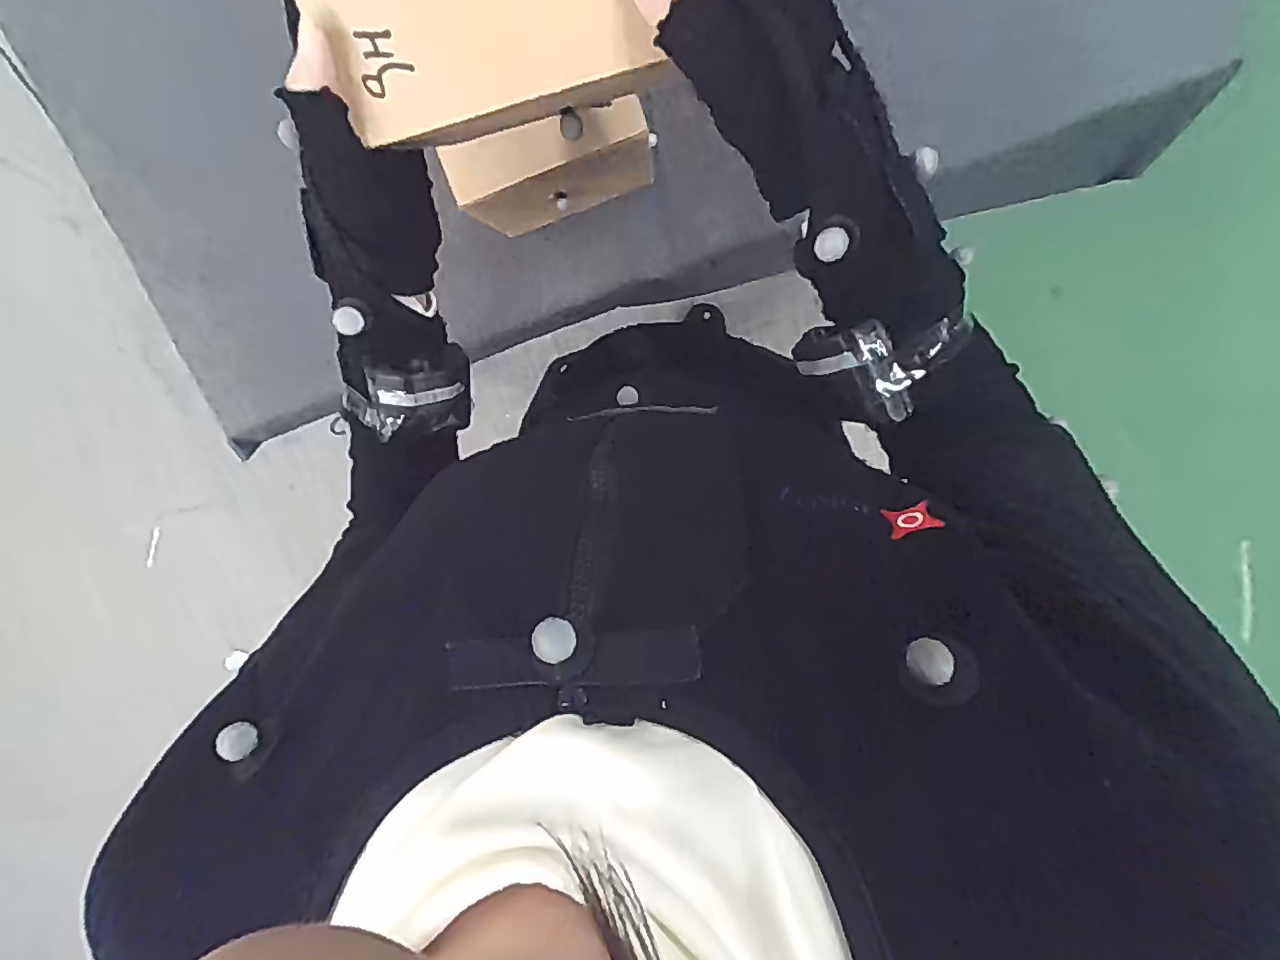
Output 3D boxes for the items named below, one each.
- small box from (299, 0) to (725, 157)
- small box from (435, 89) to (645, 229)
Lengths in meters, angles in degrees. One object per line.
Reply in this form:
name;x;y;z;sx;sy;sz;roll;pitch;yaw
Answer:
small box;-0.067;-0.283;0.270;0.179;0.176;0.168;-13;123;9
small box;-0.099;-0.362;0.516;0.179;0.176;0.168;-17;104;9
